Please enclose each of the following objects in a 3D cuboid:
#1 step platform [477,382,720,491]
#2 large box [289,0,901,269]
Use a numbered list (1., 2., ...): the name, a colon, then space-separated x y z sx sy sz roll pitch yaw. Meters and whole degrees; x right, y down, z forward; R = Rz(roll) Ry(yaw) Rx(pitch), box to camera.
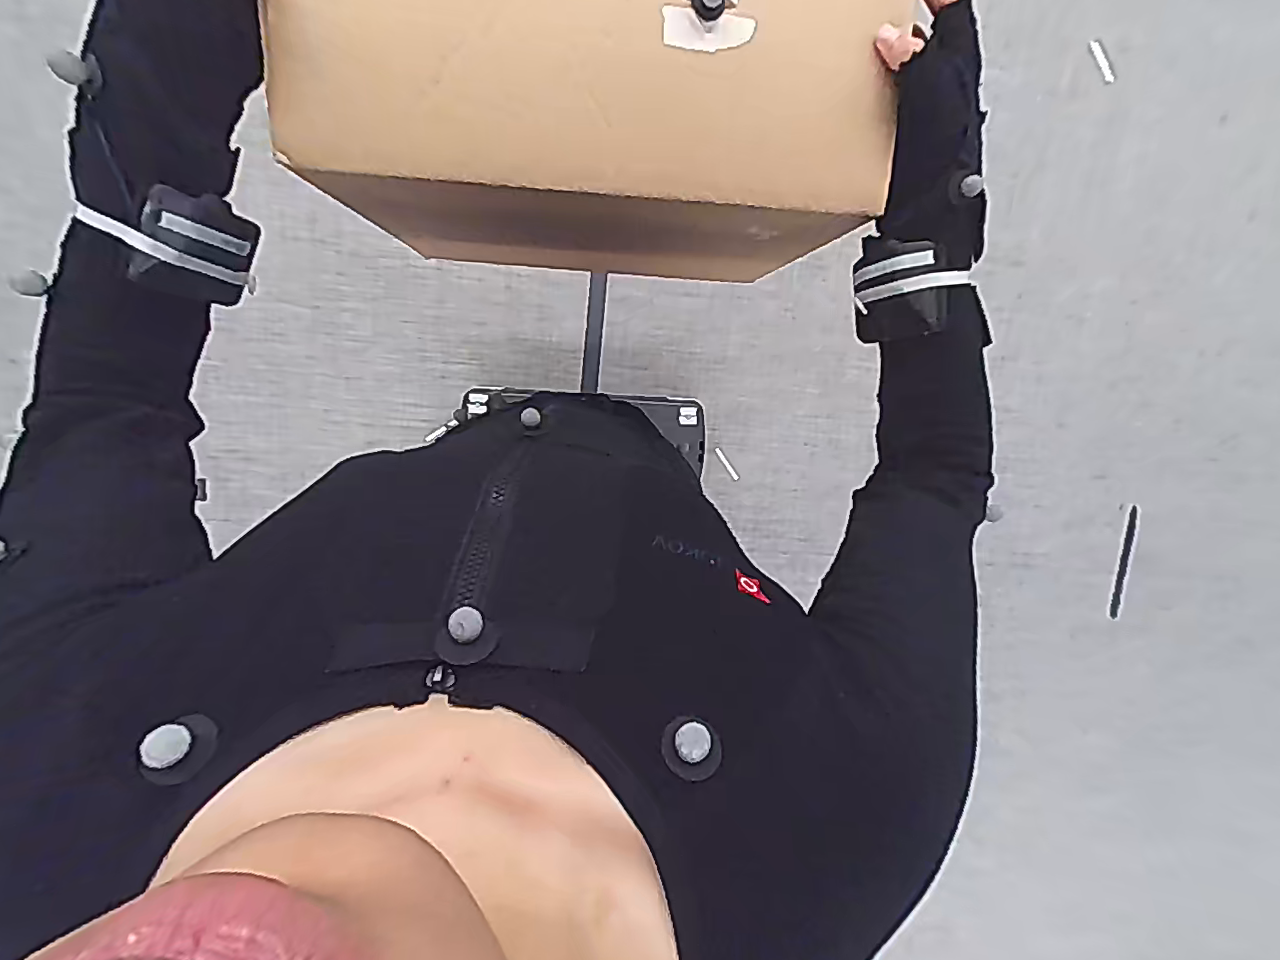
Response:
1. step platform: -0.115 -0.125 1.559 0.684 0.204 0.286 2 99 -5
2. large box: -0.034 -0.384 0.486 0.408 0.320 0.320 1 103 -6
